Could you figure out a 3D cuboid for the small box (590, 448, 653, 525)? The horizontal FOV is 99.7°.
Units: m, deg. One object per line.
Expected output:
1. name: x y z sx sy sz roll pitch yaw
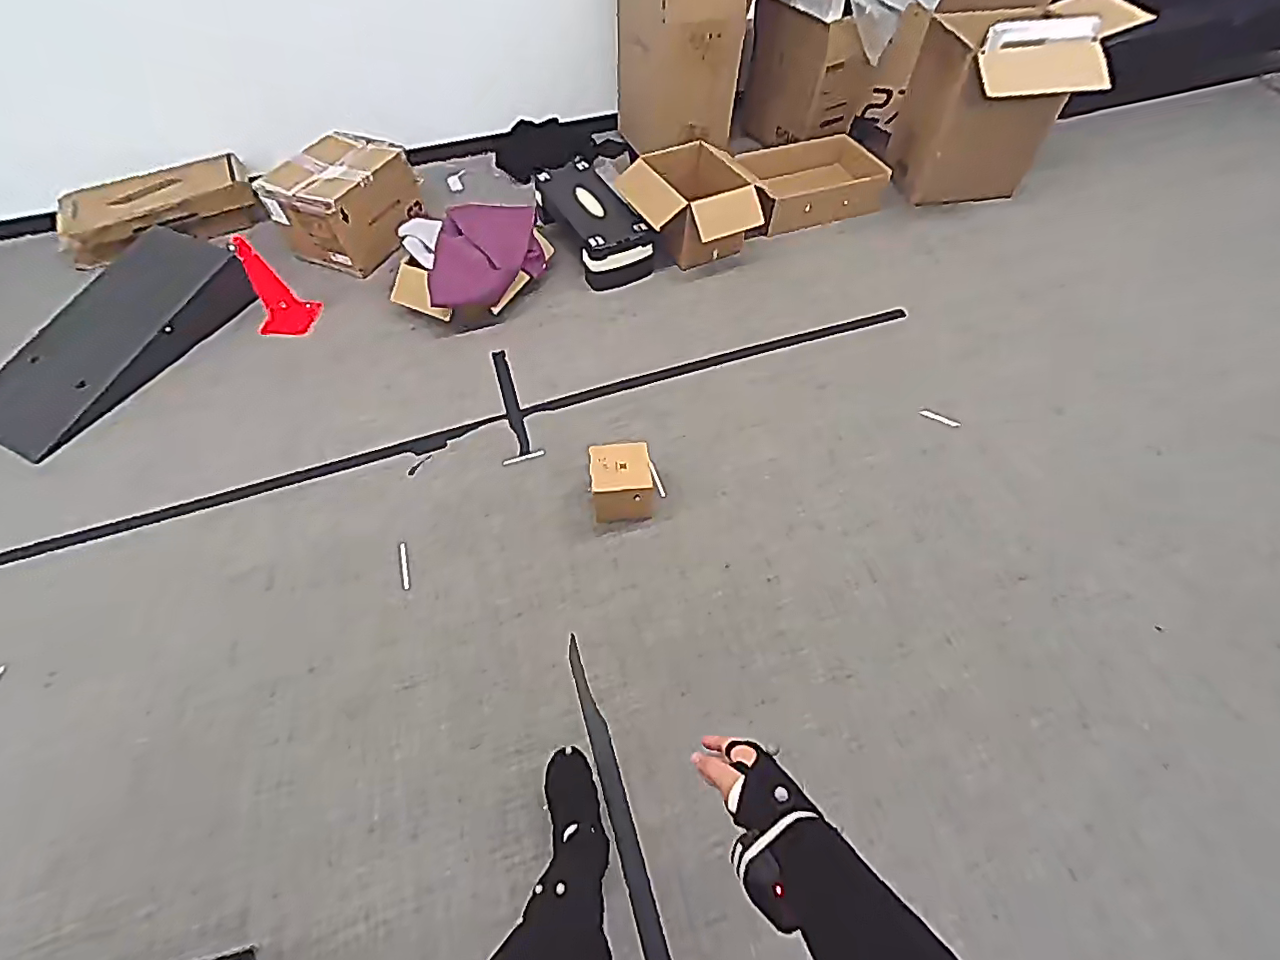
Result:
1. small box: -0.058 0.023 1.647 0.179 0.176 0.168 -5 56 -3
